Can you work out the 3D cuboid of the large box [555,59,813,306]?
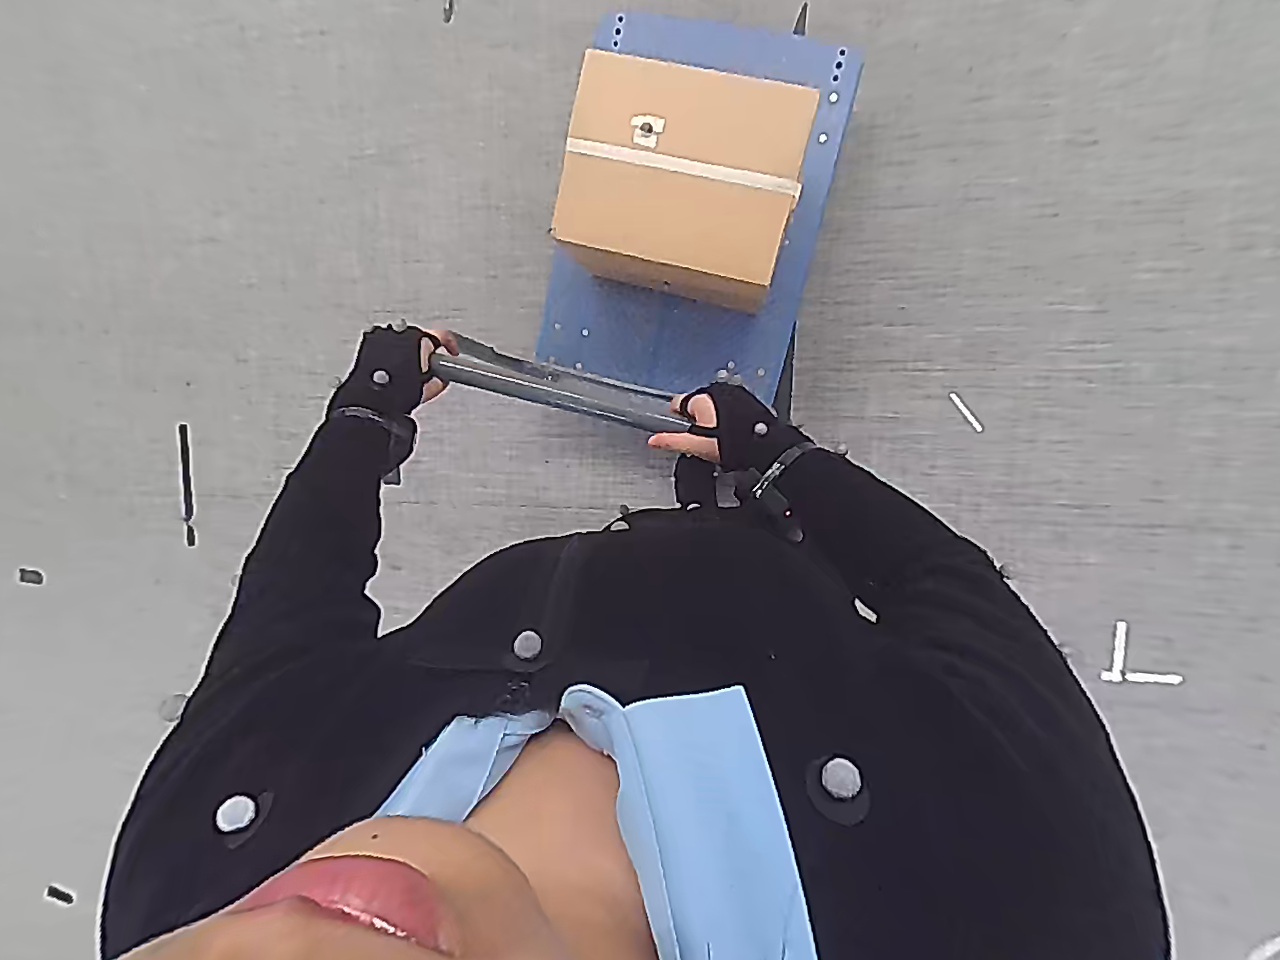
[{"bbox_3d":[0.092,-0.564,1.088,0.408,0.320,0.320,15,100,8],"label":"large box"}]
